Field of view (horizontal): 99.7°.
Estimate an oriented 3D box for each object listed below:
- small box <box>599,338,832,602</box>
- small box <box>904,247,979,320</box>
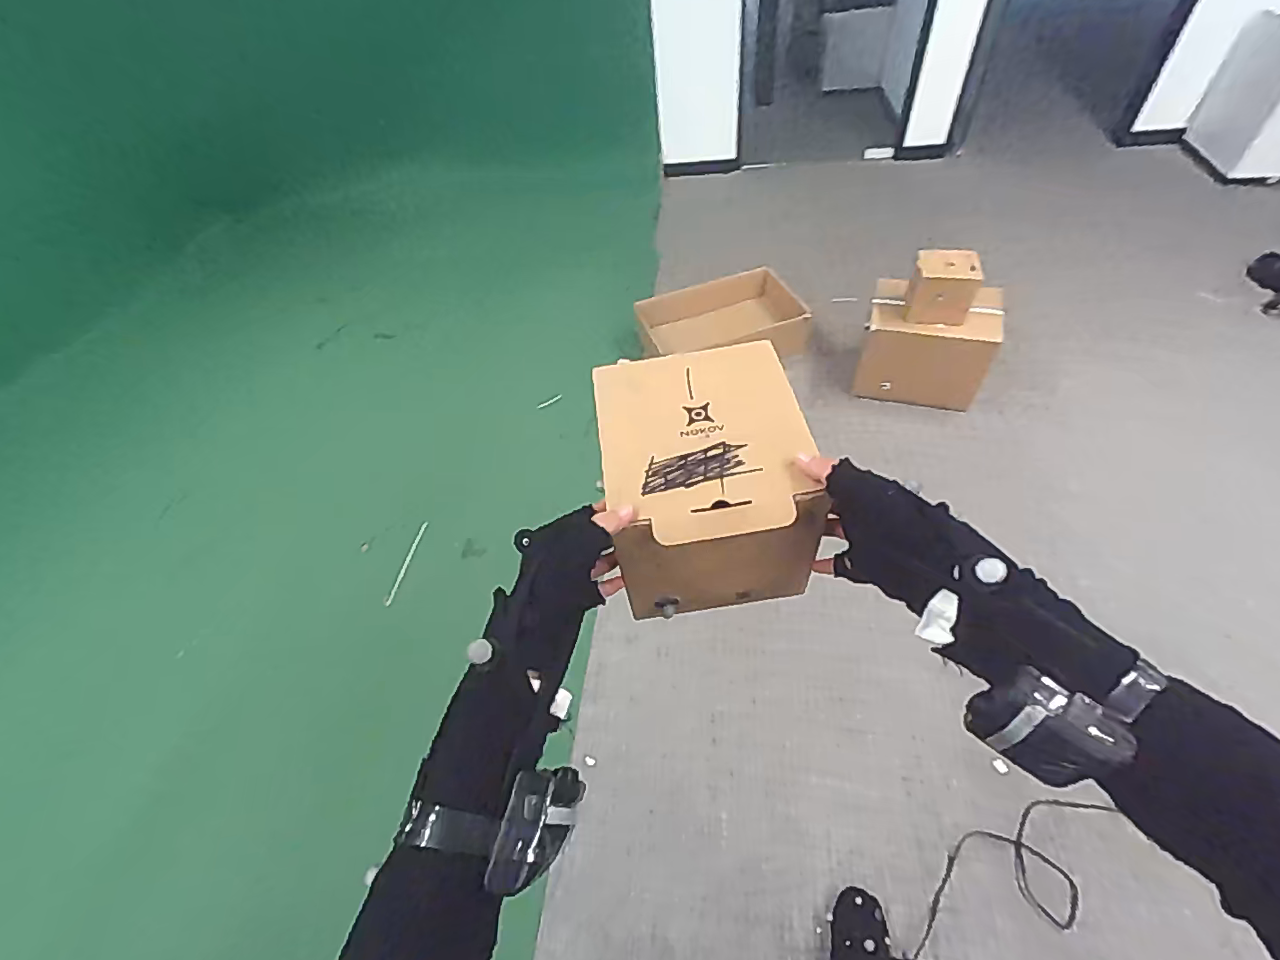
[{"bbox_3d":[0.060,0.000,0.501,0.168,0.176,0.179,-9,52,1],"label":"small box"},{"bbox_3d":[0.972,-0.639,1.763,0.179,0.176,0.168,7,53,13],"label":"small box"}]
